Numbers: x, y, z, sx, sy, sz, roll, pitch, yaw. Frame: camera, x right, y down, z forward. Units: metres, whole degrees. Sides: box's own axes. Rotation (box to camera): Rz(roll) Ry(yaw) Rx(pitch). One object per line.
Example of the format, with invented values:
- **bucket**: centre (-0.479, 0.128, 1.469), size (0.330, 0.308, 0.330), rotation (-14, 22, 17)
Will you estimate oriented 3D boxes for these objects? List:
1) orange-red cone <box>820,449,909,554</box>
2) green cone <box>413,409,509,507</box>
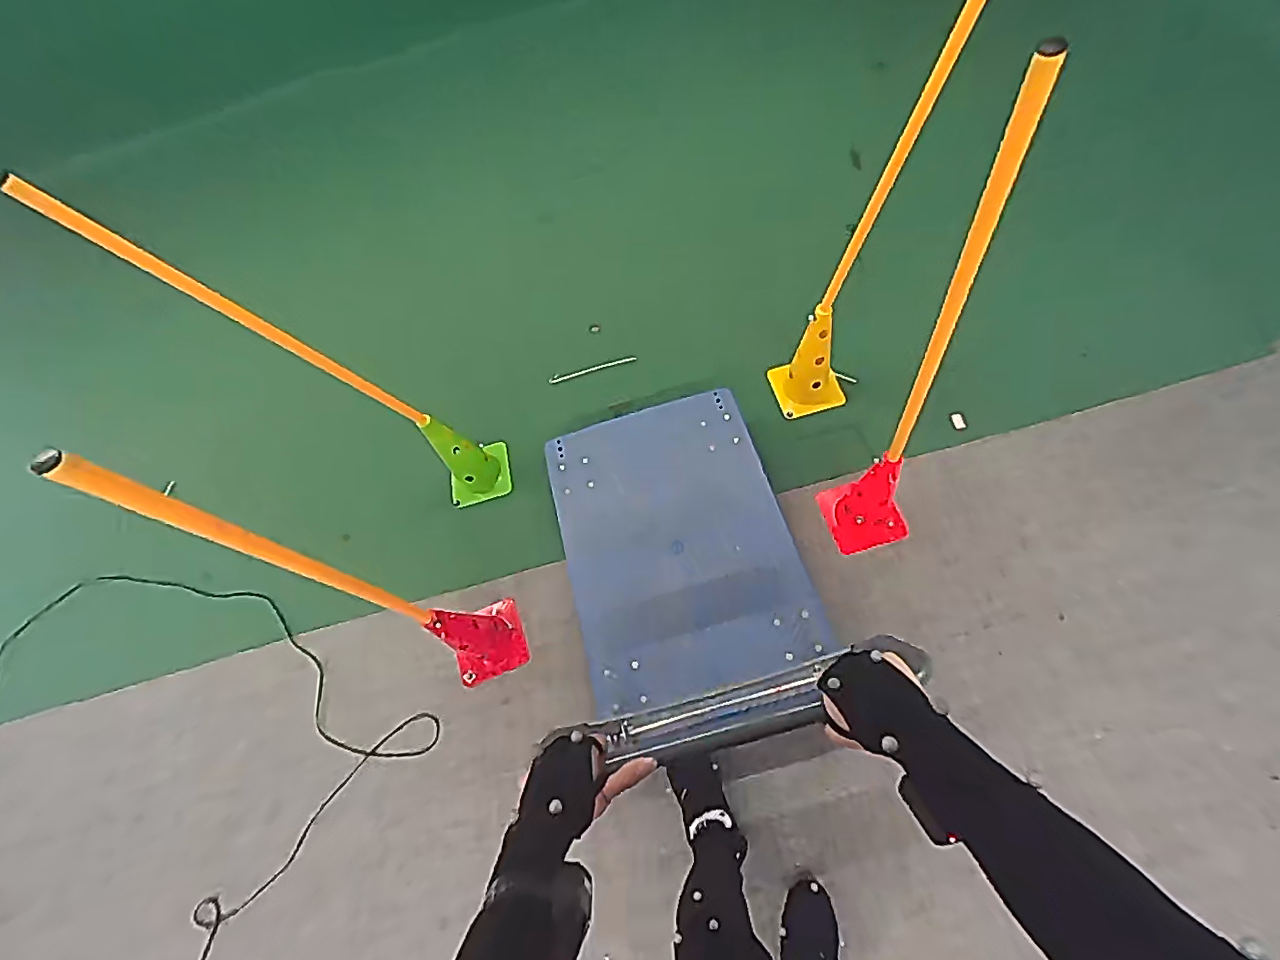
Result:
- **orange-red cone**: centre (0.598, 0.023, 1.363), size (0.198, 0.360, 0.199), rotation (-16, 61, 1)
- **green cone**: centre (-0.559, -0.094, 1.616), size (0.200, 0.368, 0.202), rotation (-17, 62, 2)
